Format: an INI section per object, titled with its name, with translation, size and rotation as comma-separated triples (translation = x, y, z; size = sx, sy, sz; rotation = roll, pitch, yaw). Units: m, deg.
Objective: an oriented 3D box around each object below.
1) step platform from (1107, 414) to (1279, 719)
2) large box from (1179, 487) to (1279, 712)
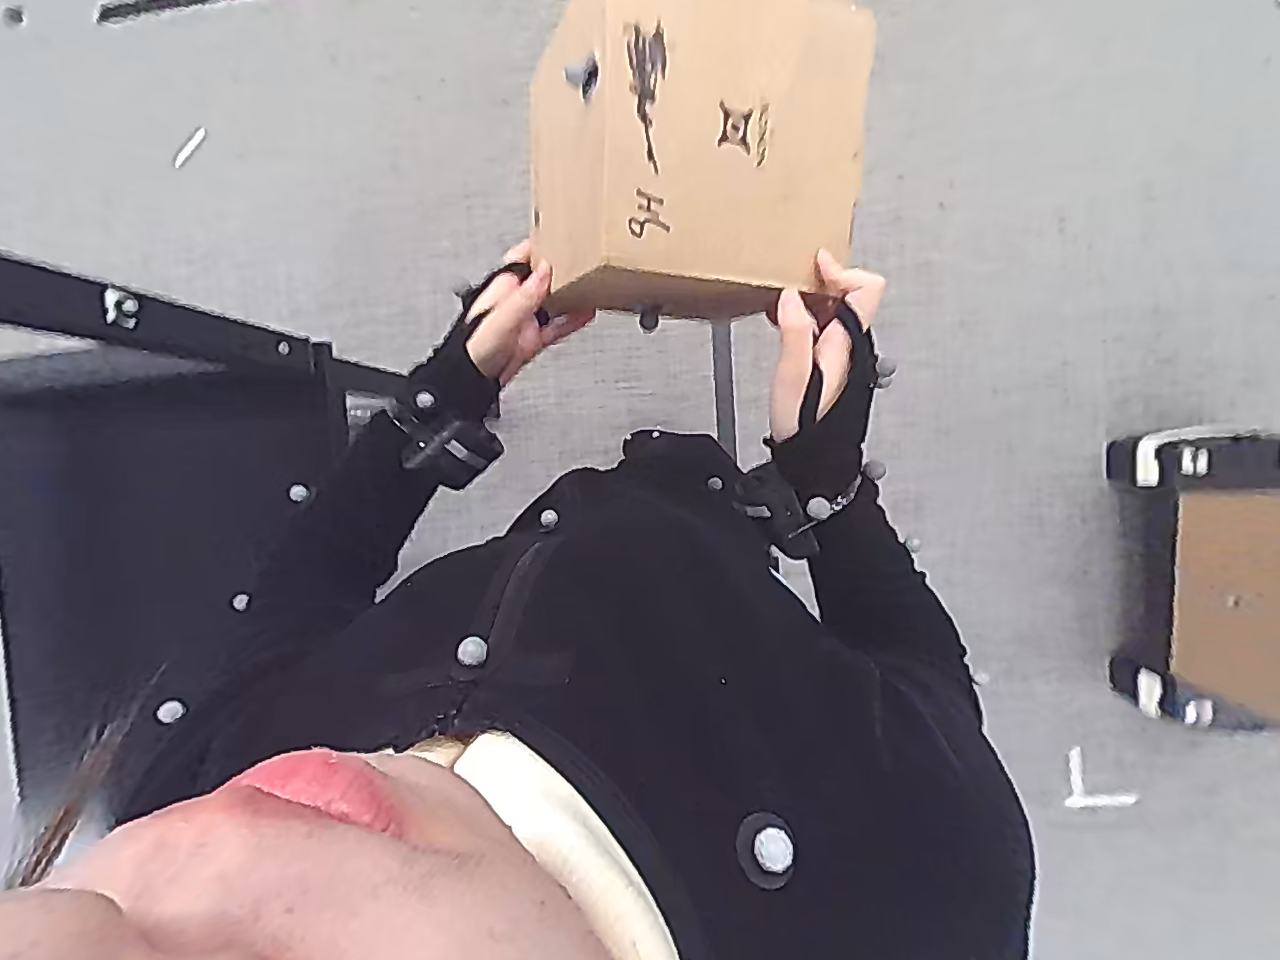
[step platform]
translation = 1.328, 0.190, 1.257
size = 0.286, 0.204, 0.684
rotation = 2, 92, 6
[large box]
translation = 1.314, 0.220, 1.020
size = 0.320, 0.320, 0.408
rotation = -1, 91, 6
